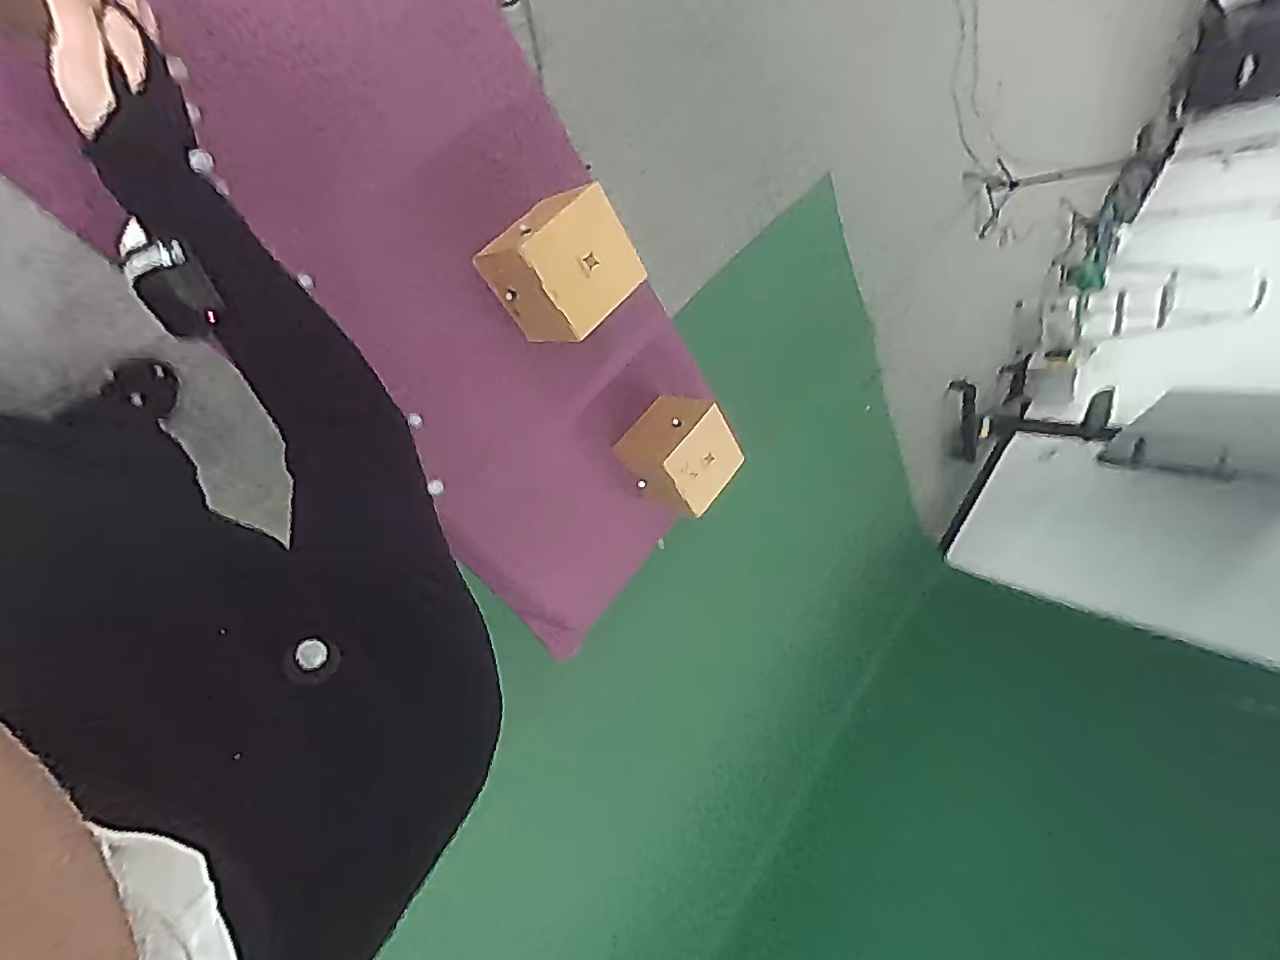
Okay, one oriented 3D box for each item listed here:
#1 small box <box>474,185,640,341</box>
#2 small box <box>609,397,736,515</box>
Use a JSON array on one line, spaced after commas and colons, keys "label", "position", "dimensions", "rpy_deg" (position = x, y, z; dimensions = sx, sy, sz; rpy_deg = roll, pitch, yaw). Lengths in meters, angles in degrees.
[{"label": "small box", "position": [-0.138, -0.352, 0.893], "dimensions": [0.179, 0.176, 0.168], "rpy_deg": [-49, 129, -18]}, {"label": "small box", "position": [0.067, -0.059, 1.150], "dimensions": [0.179, 0.176, 0.168], "rpy_deg": [-48, 127, -19]}]
